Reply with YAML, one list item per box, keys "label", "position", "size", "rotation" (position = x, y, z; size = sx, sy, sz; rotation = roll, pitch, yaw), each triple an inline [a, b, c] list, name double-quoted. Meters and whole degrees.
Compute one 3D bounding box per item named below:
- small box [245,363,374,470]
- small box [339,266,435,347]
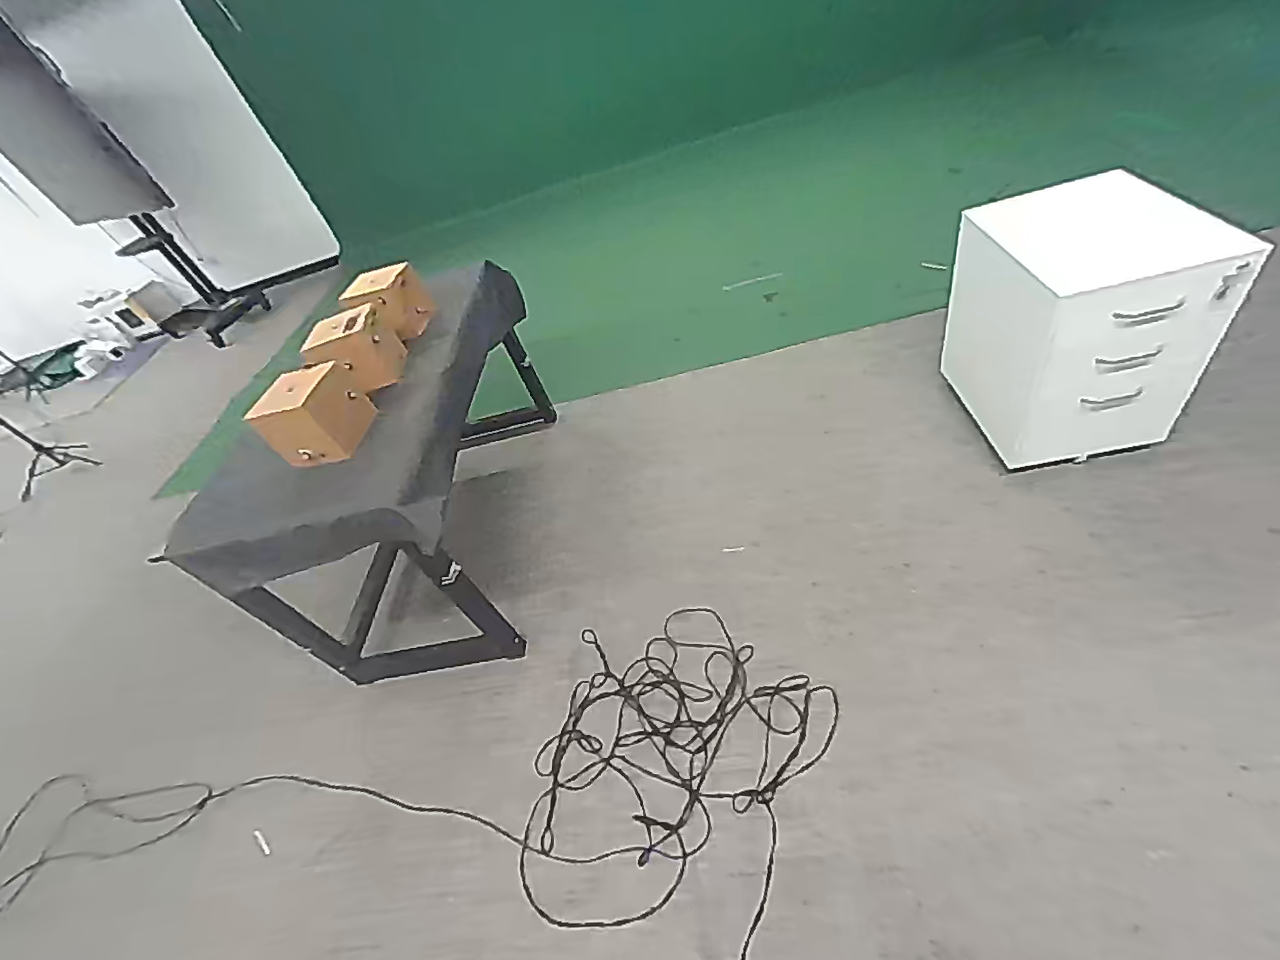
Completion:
- label: "small box"
  position: [-0.772, -0.149, 1.290]
  size: [0.168, 0.176, 0.179]
  rotation: [-10, 45, 14]
- label: "small box"
  position: [-0.773, -0.530, 1.670]
  size: [0.179, 0.176, 0.168]
  rotation: [-8, 45, 13]
